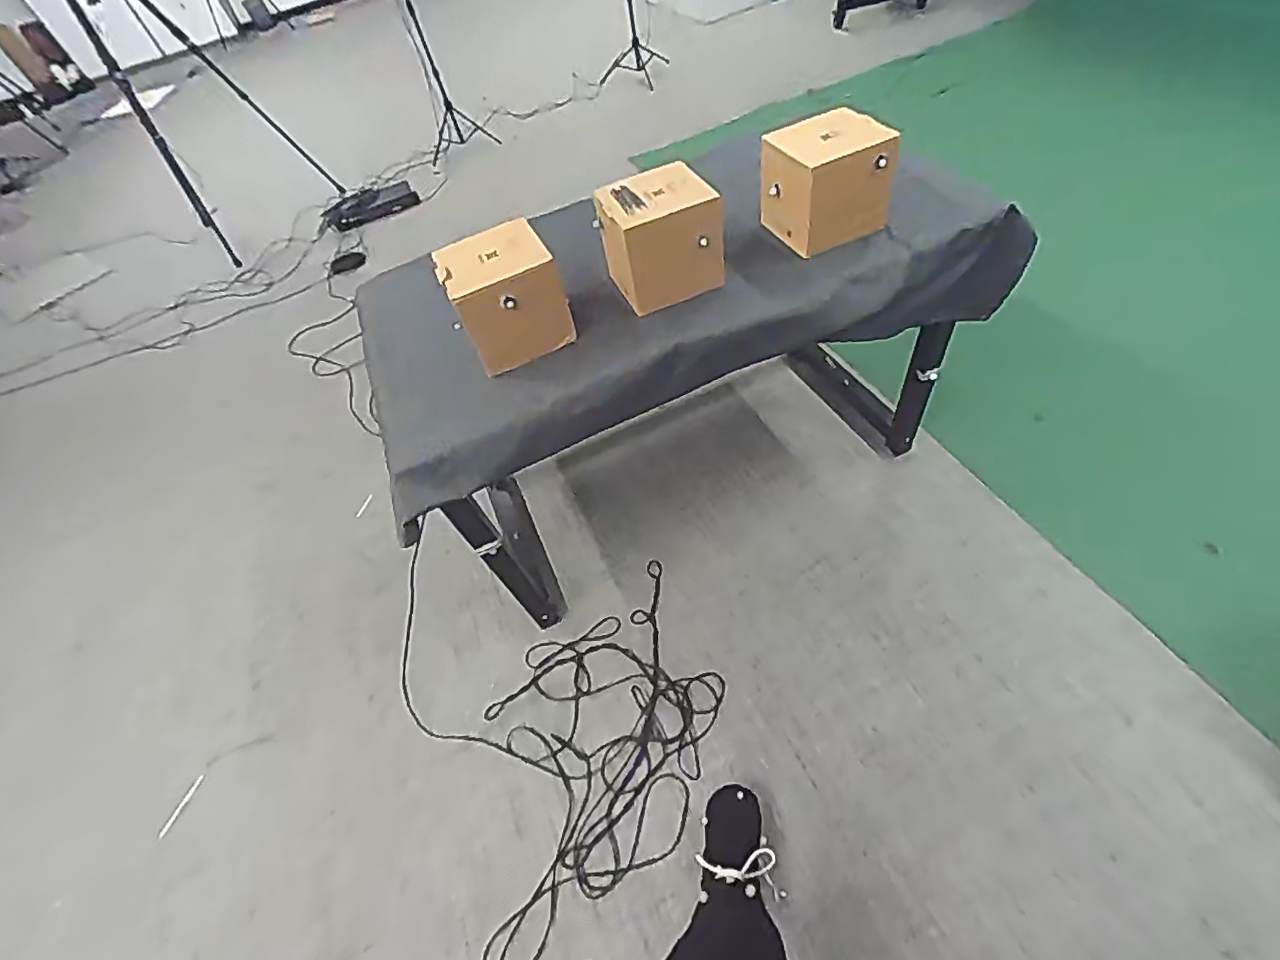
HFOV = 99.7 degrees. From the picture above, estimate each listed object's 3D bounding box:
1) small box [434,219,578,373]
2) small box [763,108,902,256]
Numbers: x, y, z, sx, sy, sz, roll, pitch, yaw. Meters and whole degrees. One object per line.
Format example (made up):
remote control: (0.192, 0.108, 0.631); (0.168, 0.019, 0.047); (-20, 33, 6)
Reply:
small box: (-0.230, -0.318, 0.949); (0.179, 0.176, 0.168); (-25, 54, -9)
small box: (0.344, -0.545, 0.998); (0.179, 0.176, 0.168); (-23, 52, -6)
